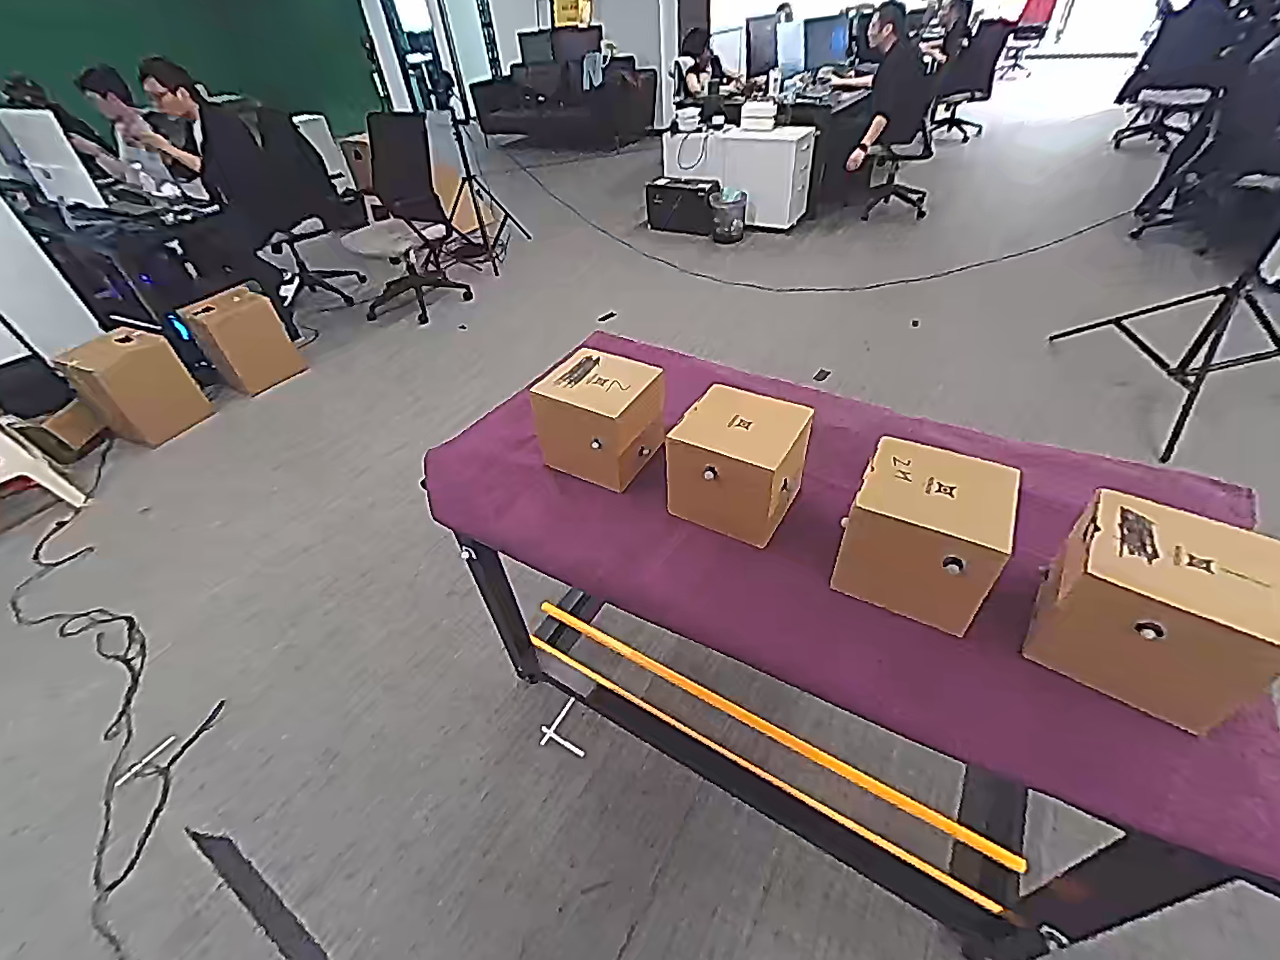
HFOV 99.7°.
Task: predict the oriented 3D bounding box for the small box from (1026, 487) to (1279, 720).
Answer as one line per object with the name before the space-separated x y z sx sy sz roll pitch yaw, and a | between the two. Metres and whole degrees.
small box | 0.589 0.142 0.632 0.179 0.176 0.168 24 48 29

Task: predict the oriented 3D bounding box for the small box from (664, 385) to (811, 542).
small box | 0.156 -0.024 0.874 0.179 0.176 0.168 19 47 26

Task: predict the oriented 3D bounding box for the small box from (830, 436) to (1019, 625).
small box | 0.380 0.070 0.738 0.179 0.176 0.168 19 45 25
